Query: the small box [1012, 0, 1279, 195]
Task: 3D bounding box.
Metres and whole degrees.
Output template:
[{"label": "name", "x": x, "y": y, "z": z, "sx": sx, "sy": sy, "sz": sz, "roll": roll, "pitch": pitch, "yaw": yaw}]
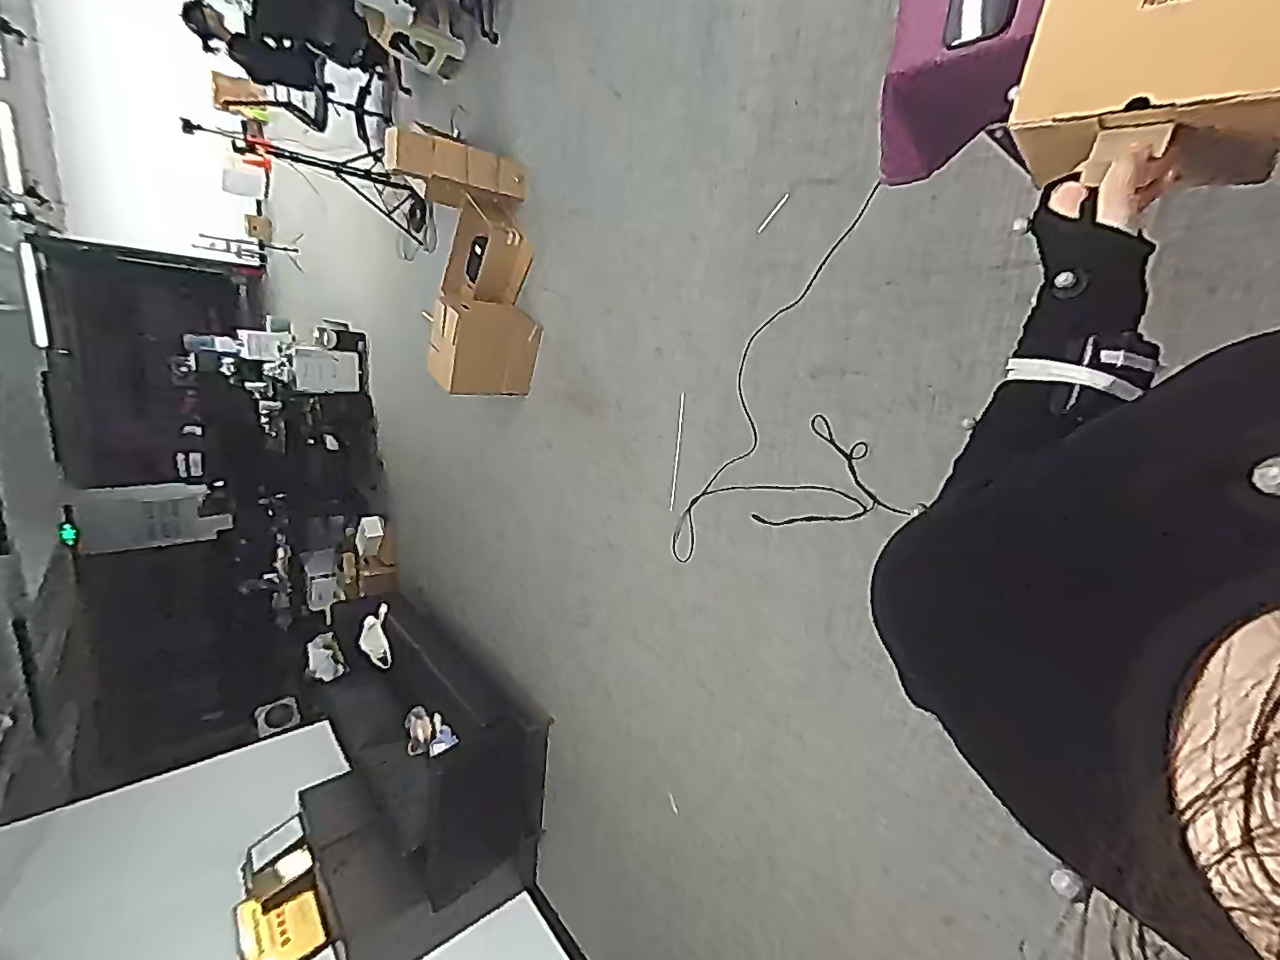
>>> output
[{"label": "small box", "x": 0.435, "y": -0.354, "z": 0.438, "sx": 0.168, "sy": 0.176, "sz": 0.179, "roll": 22, "pitch": 109, "yaw": 40}]
